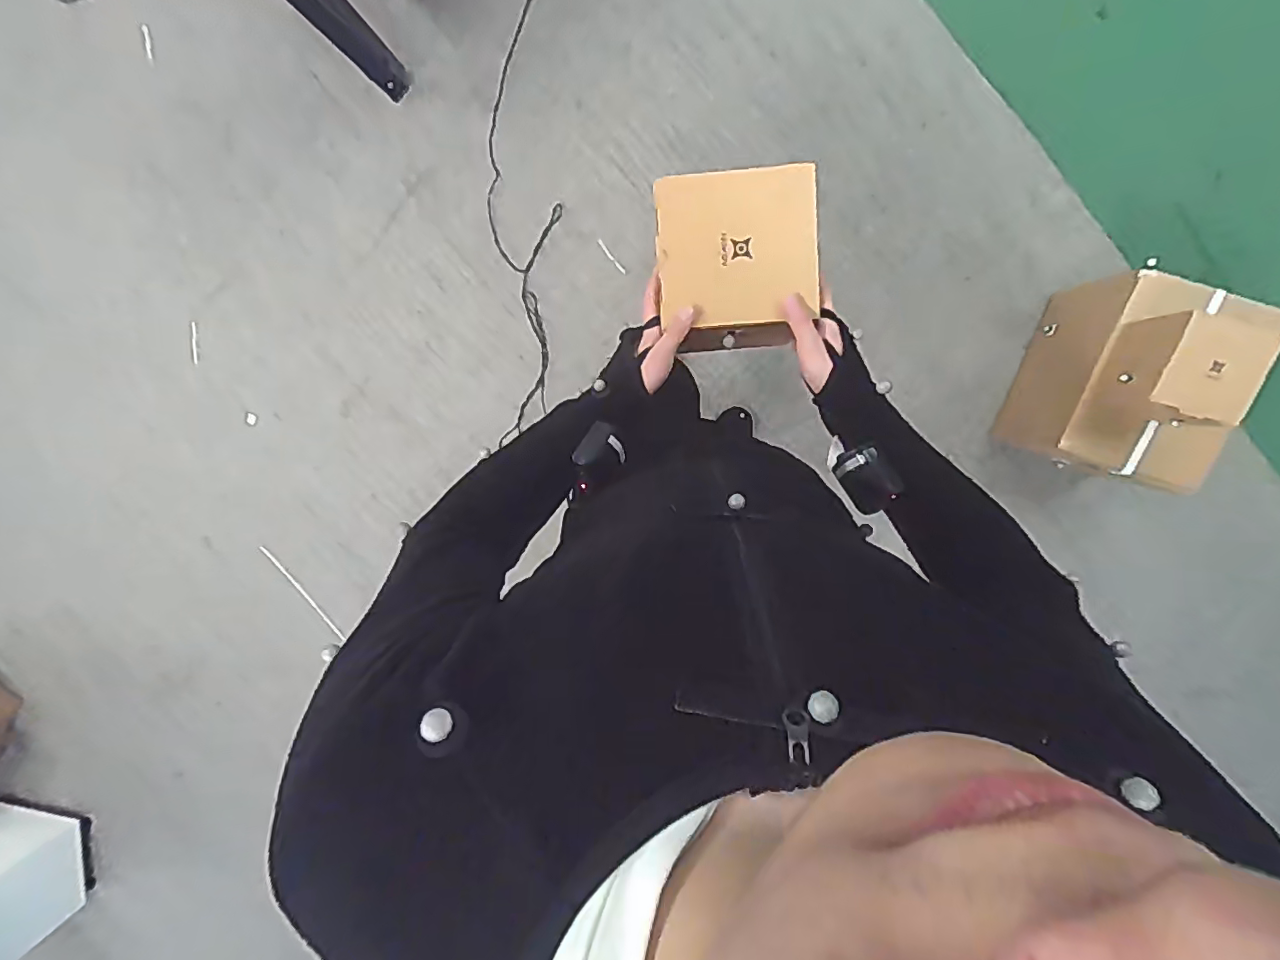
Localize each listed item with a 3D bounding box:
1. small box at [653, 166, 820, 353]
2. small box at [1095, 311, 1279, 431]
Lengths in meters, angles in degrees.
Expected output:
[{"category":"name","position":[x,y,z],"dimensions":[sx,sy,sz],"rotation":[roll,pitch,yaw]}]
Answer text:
[{"category":"small box","position":[0.109,-0.254,0.662],"dimensions":[0.179,0.176,0.168],"rotation":[-3,95,5]},{"category":"small box","position":[1.056,-0.209,1.062],"dimensions":[0.168,0.176,0.179],"rotation":[20,100,4]}]
